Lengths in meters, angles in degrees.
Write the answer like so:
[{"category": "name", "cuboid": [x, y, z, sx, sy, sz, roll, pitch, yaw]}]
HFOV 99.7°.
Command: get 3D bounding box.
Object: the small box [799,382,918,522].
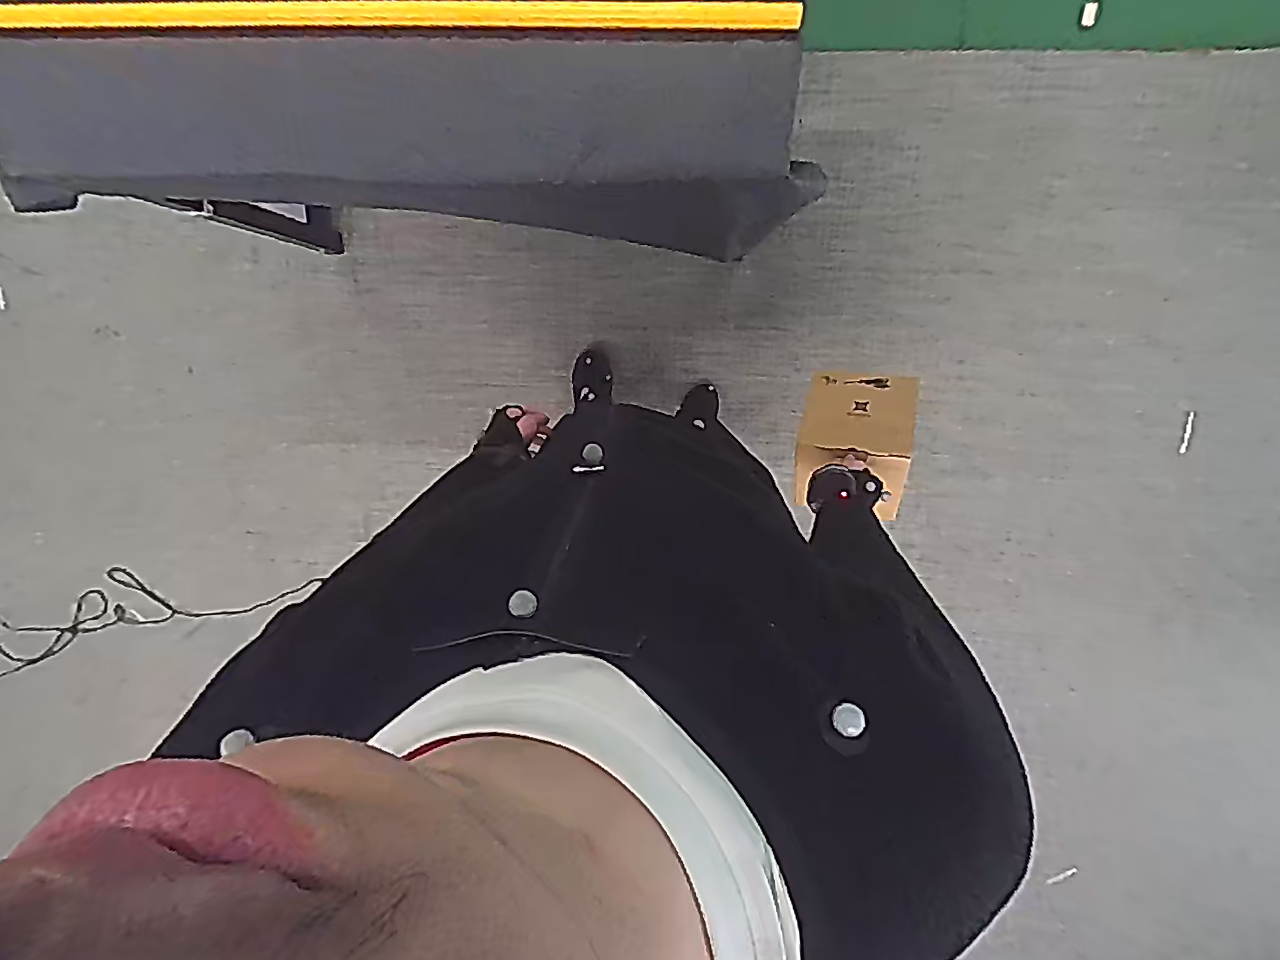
[{"category": "small box", "cuboid": [0.371, -0.046, 0.921, 0.168, 0.179, 0.176, 5, 144, 23]}]
